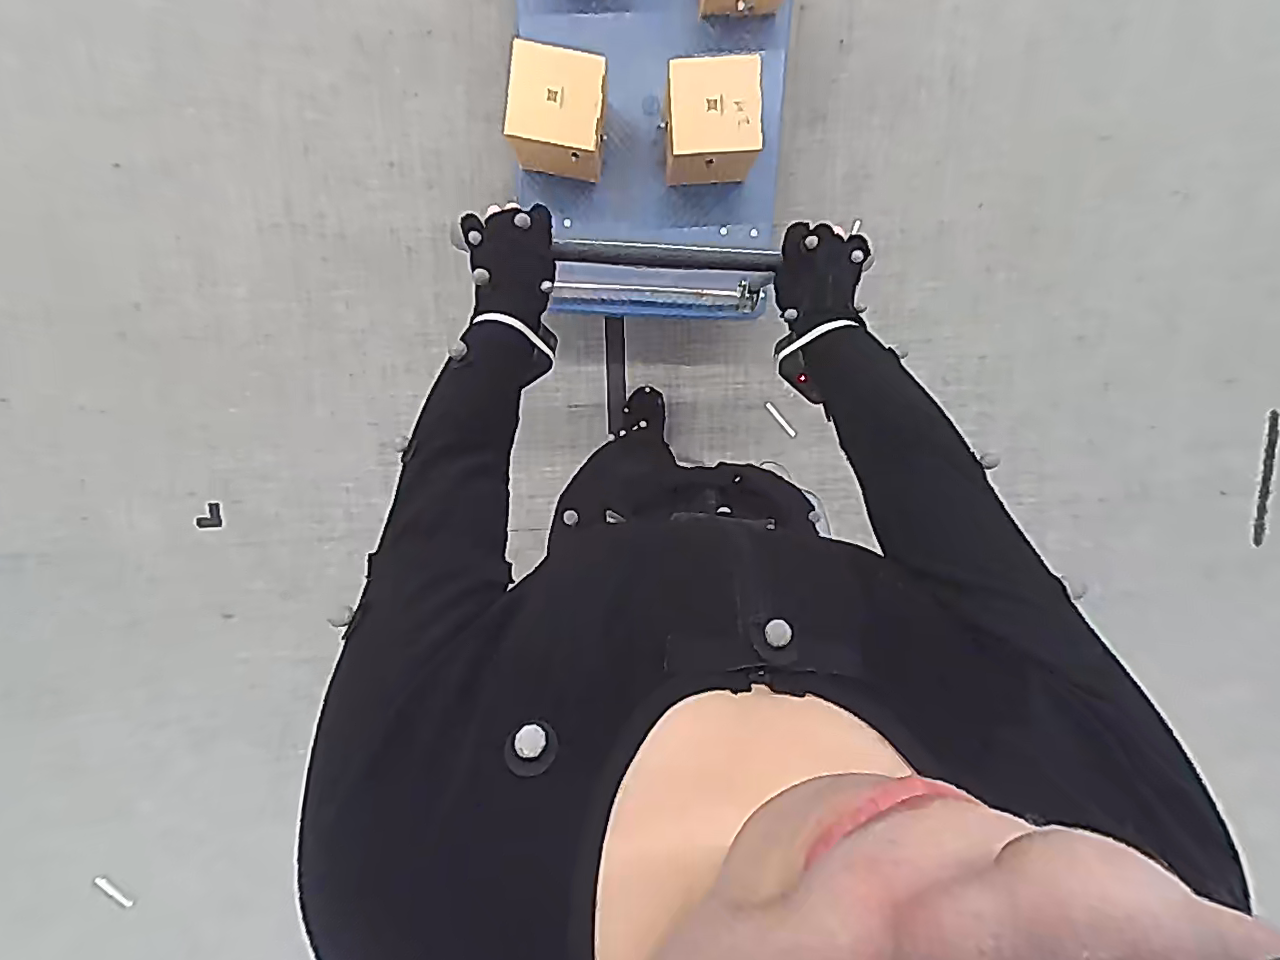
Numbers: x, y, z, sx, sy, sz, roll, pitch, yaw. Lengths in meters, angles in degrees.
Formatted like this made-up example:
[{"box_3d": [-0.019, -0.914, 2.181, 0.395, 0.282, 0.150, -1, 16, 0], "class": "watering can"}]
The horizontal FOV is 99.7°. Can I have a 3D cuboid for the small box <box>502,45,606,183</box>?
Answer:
[{"box_3d": [-0.167, -0.724, 1.090, 0.179, 0.176, 0.168, 8, 100, -4], "class": "small box"}]

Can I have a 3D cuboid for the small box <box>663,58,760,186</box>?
[{"box_3d": [0.138, -0.714, 1.098, 0.179, 0.176, 0.168, -4, 101, -1], "class": "small box"}]

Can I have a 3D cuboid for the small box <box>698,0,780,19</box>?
[{"box_3d": [0.202, -1.040, 1.039, 0.168, 0.176, 0.179, -2, 102, -1], "class": "small box"}]
